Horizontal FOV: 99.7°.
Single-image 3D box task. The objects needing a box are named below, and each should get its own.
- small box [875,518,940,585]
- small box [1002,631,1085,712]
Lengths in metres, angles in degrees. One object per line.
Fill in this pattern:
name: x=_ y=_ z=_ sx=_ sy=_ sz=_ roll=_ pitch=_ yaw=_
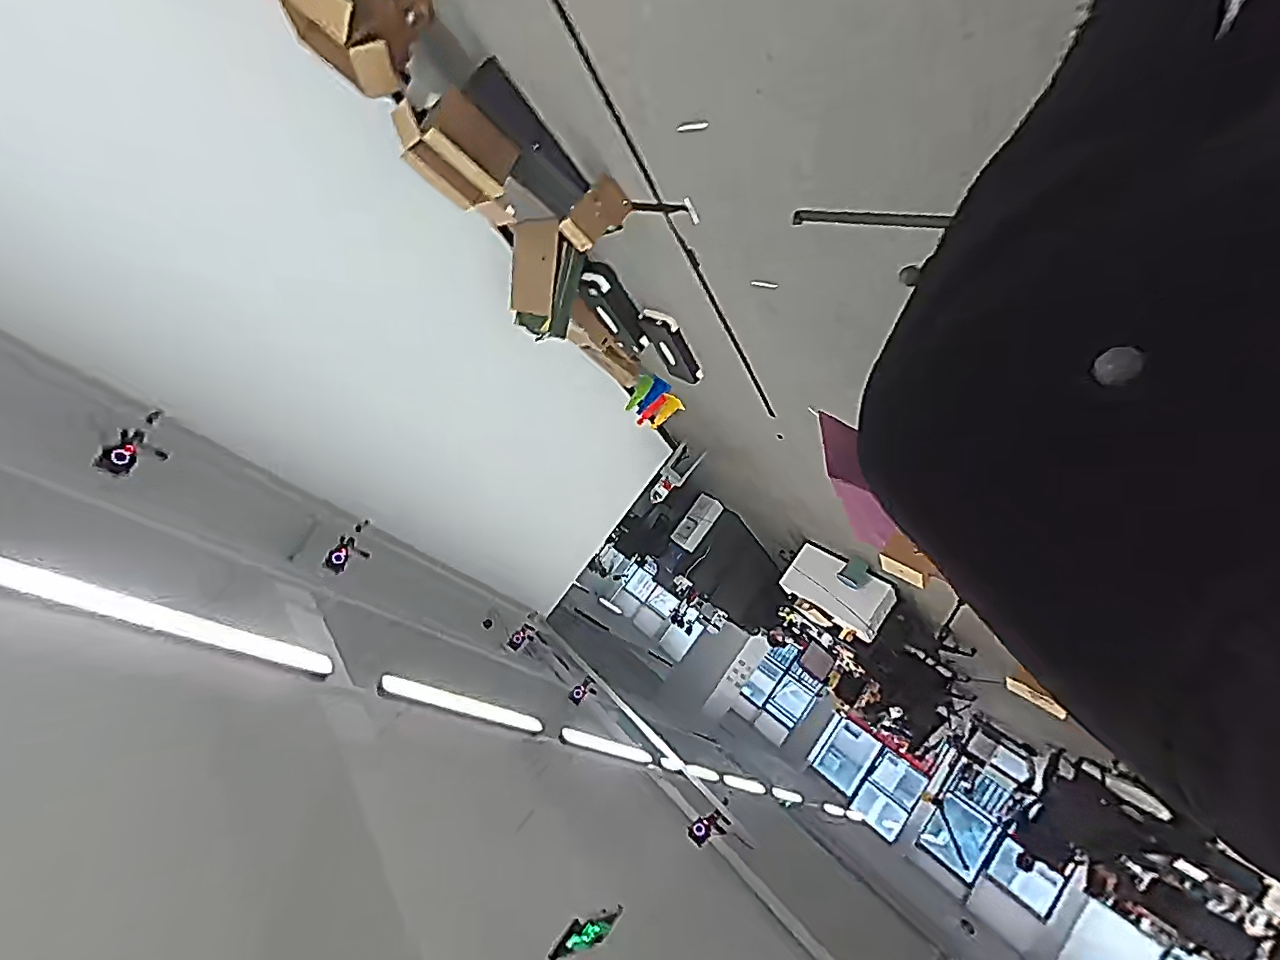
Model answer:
small box: x=1.033 y=0.271 z=2.083 sx=0.168 sy=0.176 sz=0.179 roll=29 pitch=169 yaw=39
small box: x=1.295 y=0.611 z=1.738 sx=0.168 sy=0.176 sz=0.179 roll=29 pitch=169 yaw=43
